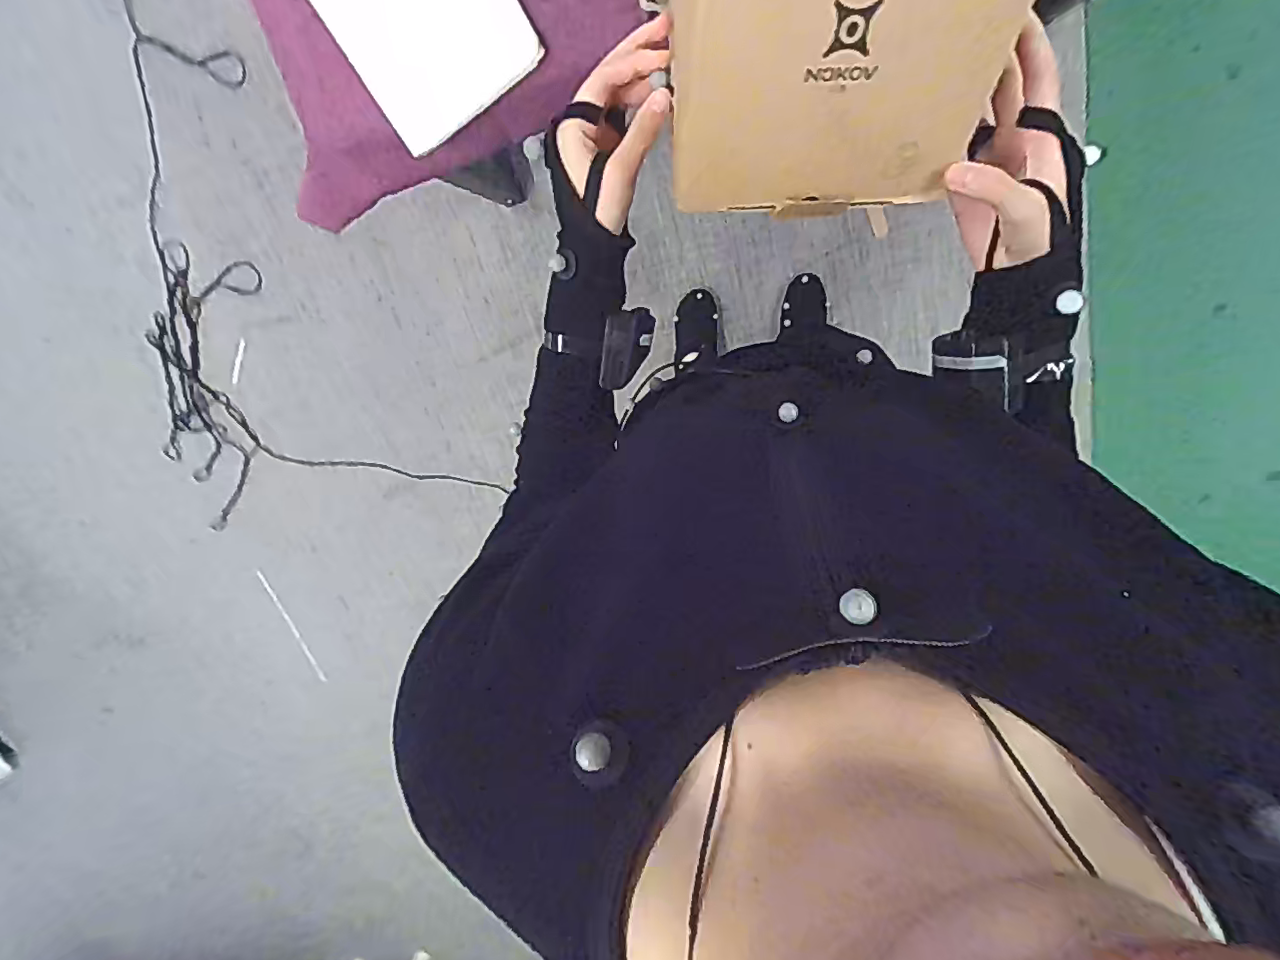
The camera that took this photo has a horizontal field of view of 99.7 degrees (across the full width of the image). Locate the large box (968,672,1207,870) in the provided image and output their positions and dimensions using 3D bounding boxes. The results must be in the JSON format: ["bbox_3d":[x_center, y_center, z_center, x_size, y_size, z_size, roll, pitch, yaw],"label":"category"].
[{"bbox_3d":[1.285,0.845,1.594,0.408,0.320,0.320,-28,106,13],"label":"large box"}]

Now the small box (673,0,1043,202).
[{"bbox_3d":[0.105,-0.284,0.300,0.168,0.176,0.179,0,147,1],"label":"small box"}]

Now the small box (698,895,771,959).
[{"bbox_3d":[0.276,1.392,1.620,0.179,0.176,0.168,15,112,1],"label":"small box"}]

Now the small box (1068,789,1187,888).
[{"bbox_3d":[1.226,0.913,1.362,0.168,0.176,0.179,-22,106,13],"label":"small box"}]

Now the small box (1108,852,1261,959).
[{"bbox_3d":[1.212,0.975,1.213,0.179,0.176,0.168,-21,106,13],"label":"small box"}]
